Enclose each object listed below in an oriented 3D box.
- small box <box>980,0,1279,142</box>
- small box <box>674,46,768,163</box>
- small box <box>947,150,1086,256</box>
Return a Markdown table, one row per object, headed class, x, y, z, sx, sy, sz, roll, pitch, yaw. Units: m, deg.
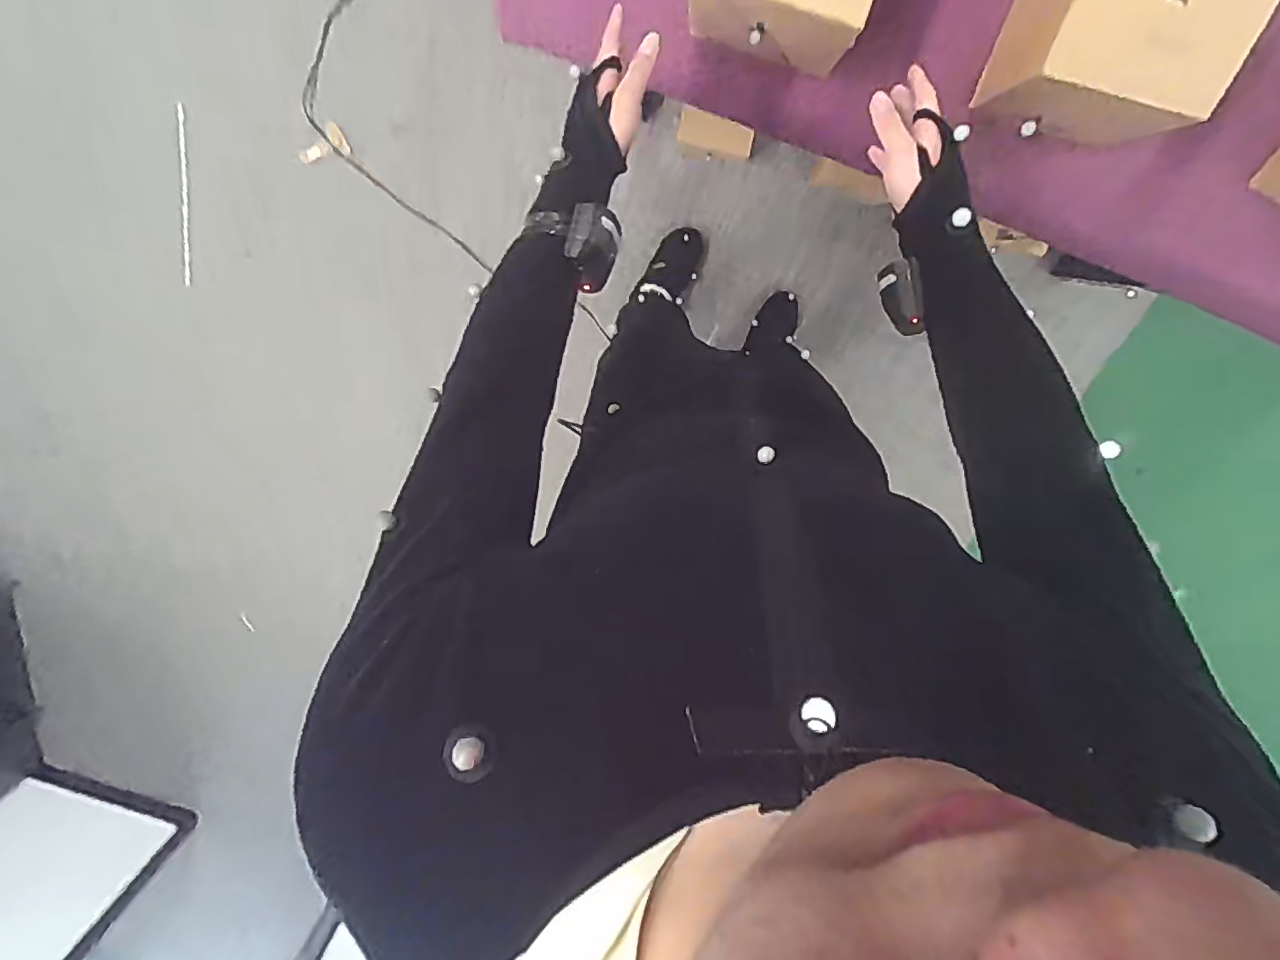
| class | x | y | z | sx | sy | sz | roll | pitch | yaw |
| --- | --- | --- | --- | --- | --- | --- | --- | --- | --- |
| small box | 0.485 | -0.469 | 0.539 | 0.168 | 0.176 | 0.179 | 16 | 115 | 0 |
| small box | 0.179 | -0.829 | 1.213 | 0.168 | 0.176 | 0.179 | 12 | 115 | 1 |
| small box | 0.839 | -0.622 | 1.228 | 0.168 | 0.176 | 0.179 | 14 | 115 | 0 |
